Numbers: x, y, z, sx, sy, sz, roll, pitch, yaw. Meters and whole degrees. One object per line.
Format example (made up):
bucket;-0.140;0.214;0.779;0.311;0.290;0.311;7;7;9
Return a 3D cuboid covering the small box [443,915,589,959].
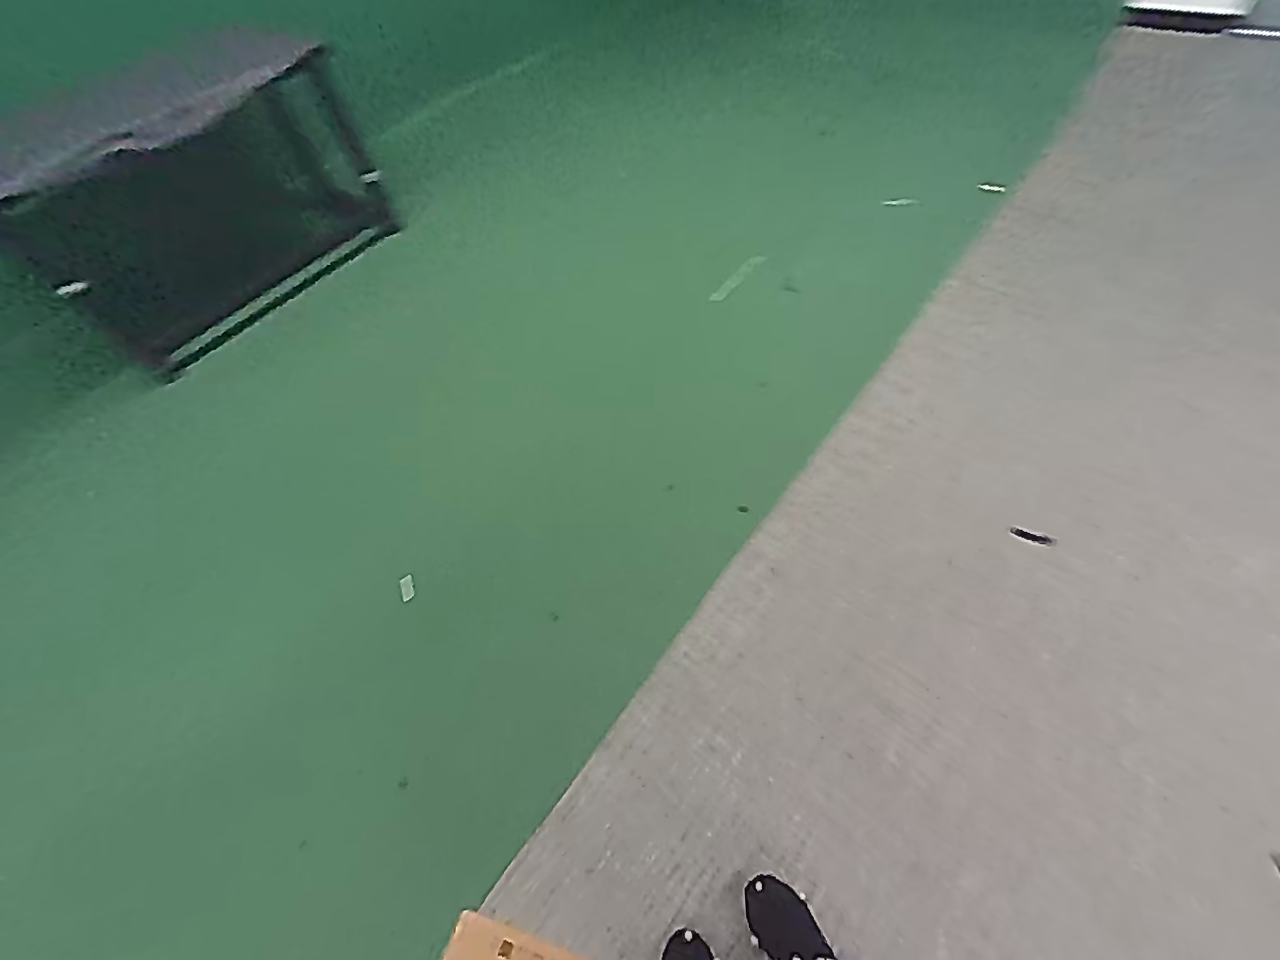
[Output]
small box;-0.165;0.625;0.606;0.168;0.179;0.176;22;37;-2
